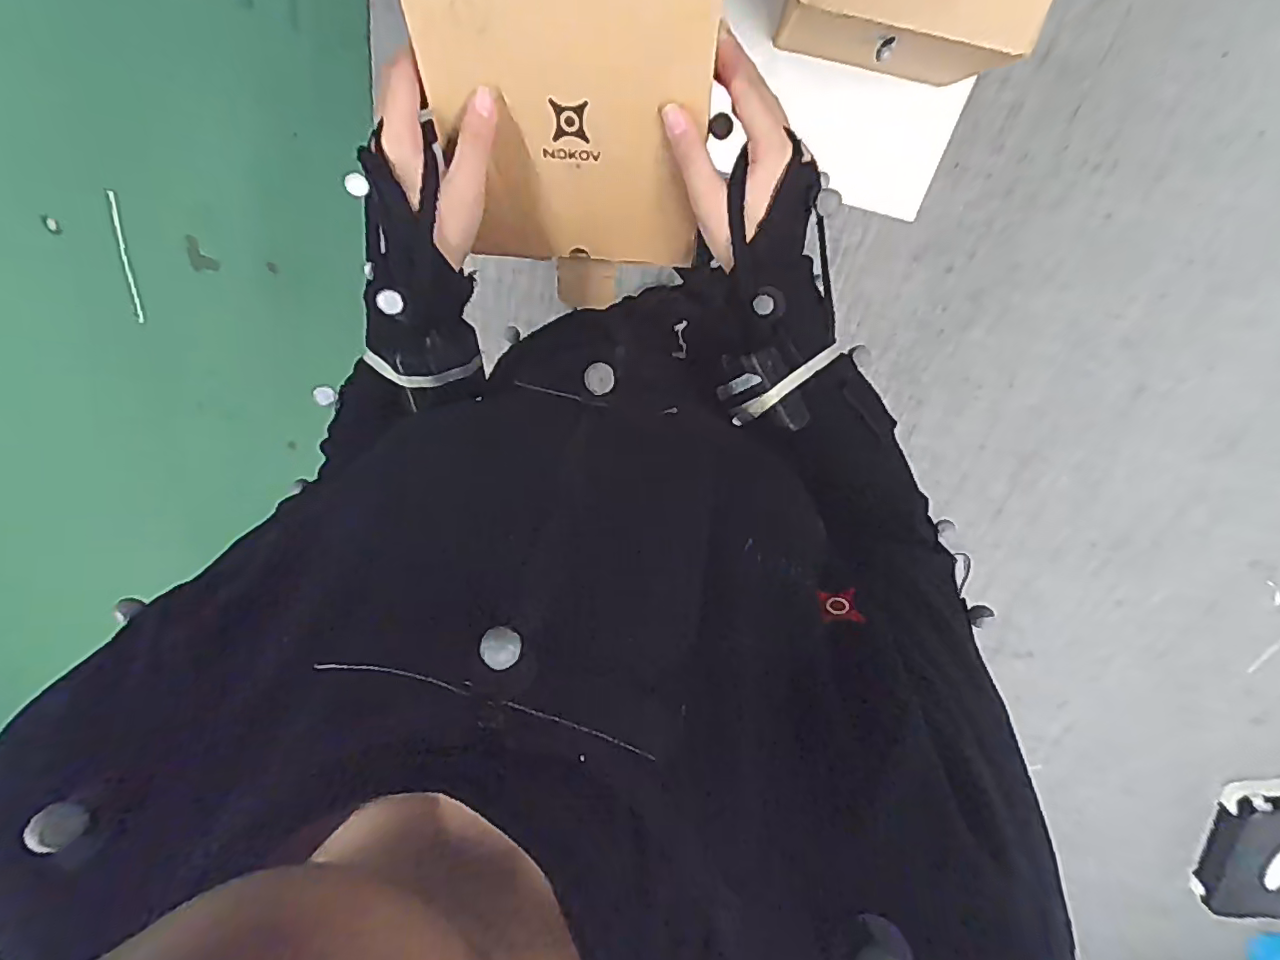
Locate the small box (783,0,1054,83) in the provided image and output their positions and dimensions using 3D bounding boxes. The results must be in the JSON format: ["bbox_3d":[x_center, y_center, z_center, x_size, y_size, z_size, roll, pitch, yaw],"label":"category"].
[{"bbox_3d":[0.222,-0.431,0.419,0.179,0.176,0.168,13,121,1],"label":"small box"}]
